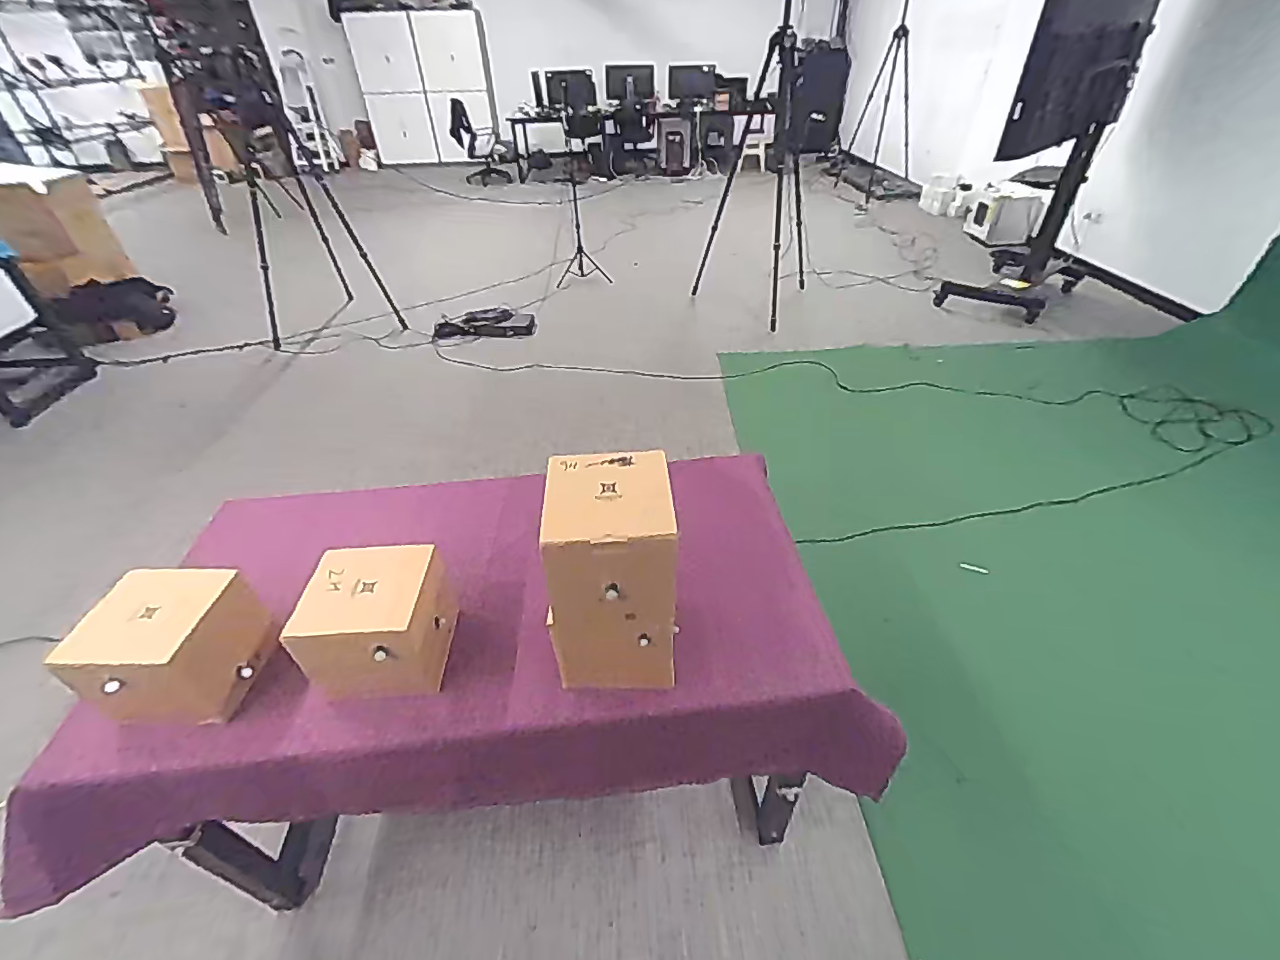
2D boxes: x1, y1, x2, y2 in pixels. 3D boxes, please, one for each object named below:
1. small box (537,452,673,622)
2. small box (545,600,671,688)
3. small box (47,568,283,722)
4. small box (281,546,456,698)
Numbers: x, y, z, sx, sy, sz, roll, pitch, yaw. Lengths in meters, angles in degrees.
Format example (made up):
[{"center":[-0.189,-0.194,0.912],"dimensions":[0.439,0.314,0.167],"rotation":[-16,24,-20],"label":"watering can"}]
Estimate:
[{"center":[-0.042,0.083,0.749],"dimensions":[0.168,0.176,0.179],"rotation":[-2,40,-1],"label":"small box"},{"center":[-0.040,0.210,0.852],"dimensions":[0.179,0.176,0.168],"rotation":[0,39,2],"label":"small box"},{"center":[-0.704,0.253,0.829],"dimensions":[0.179,0.176,0.168],"rotation":[0,40,2],"label":"small box"},{"center":[-0.406,0.223,0.851],"dimensions":[0.179,0.176,0.168],"rotation":[-3,38,-1],"label":"small box"}]
